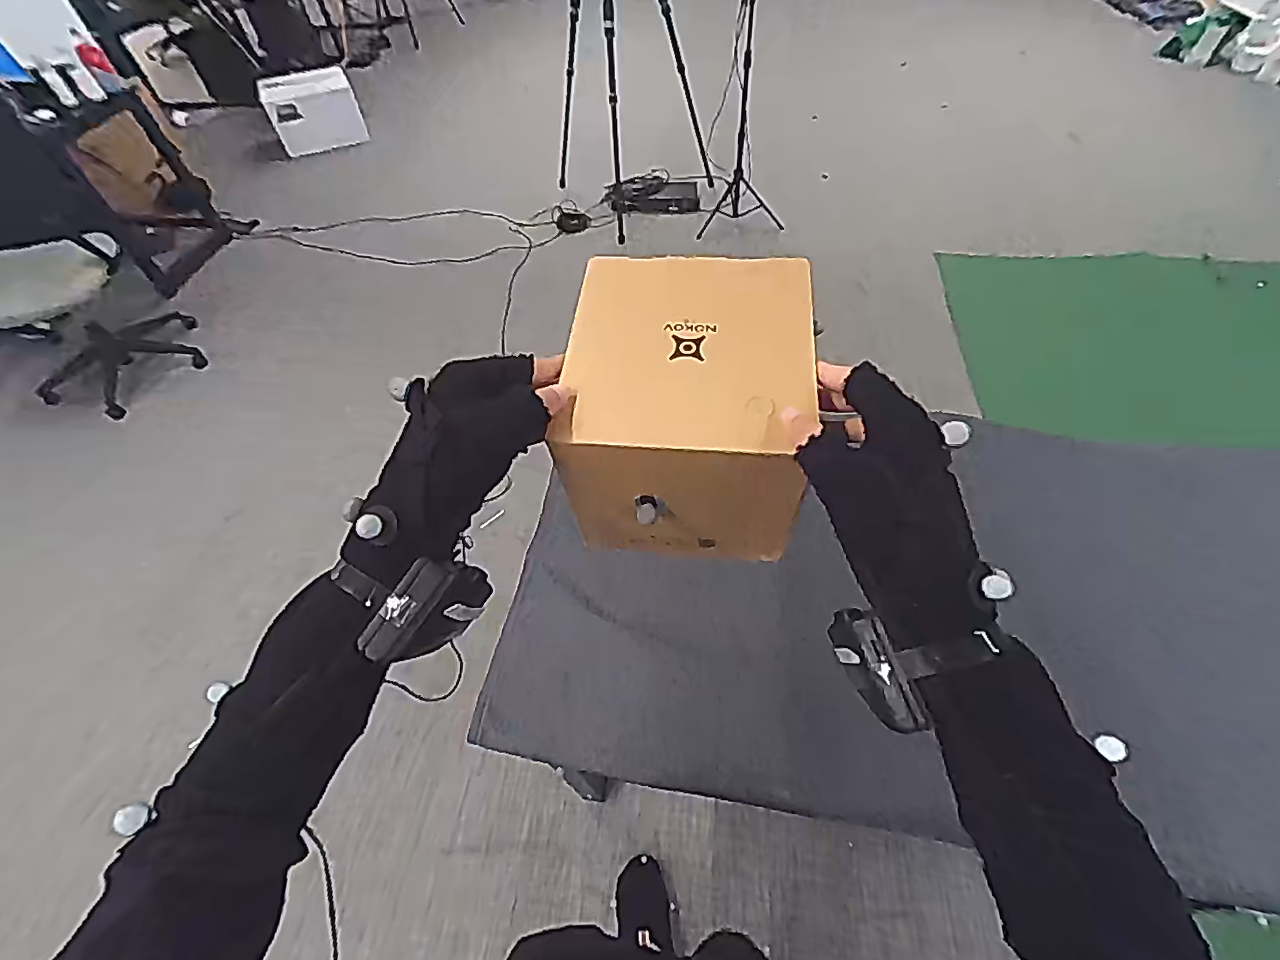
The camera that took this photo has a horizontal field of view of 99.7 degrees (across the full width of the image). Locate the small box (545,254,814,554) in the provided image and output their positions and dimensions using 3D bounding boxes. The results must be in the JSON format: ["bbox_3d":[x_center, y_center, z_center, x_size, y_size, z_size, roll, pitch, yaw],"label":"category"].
[{"bbox_3d":[0.038,-0.053,0.430,0.168,0.176,0.179,3,60,7],"label":"small box"}]
